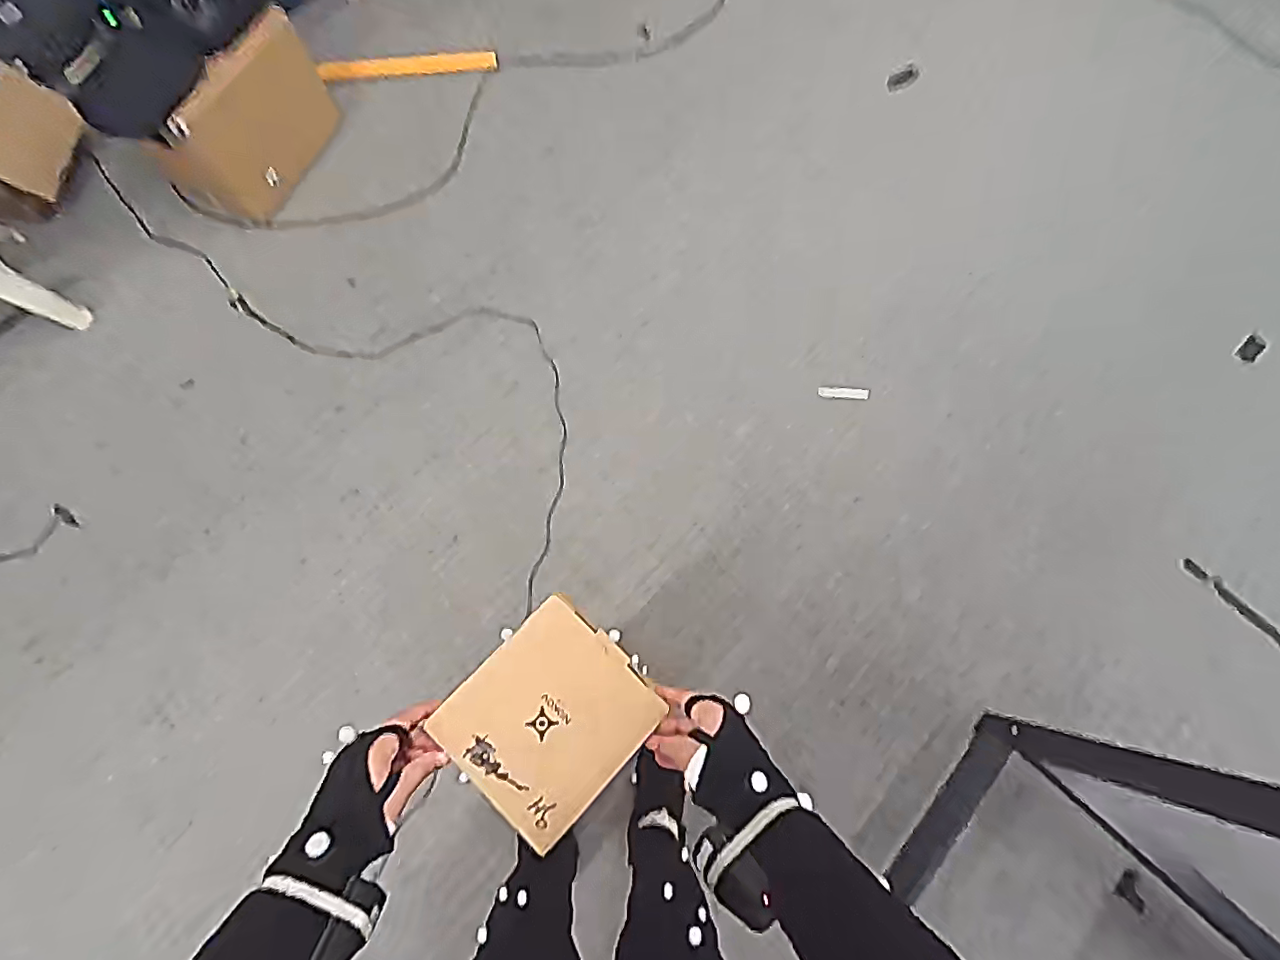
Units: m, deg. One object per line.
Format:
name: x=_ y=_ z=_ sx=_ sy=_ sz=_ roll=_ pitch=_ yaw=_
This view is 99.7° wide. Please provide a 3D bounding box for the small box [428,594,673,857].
small box: x=-0.093 y=0.245 z=0.590 sx=0.168 sy=0.176 sz=0.179 roll=44 pitch=75 yaw=5
